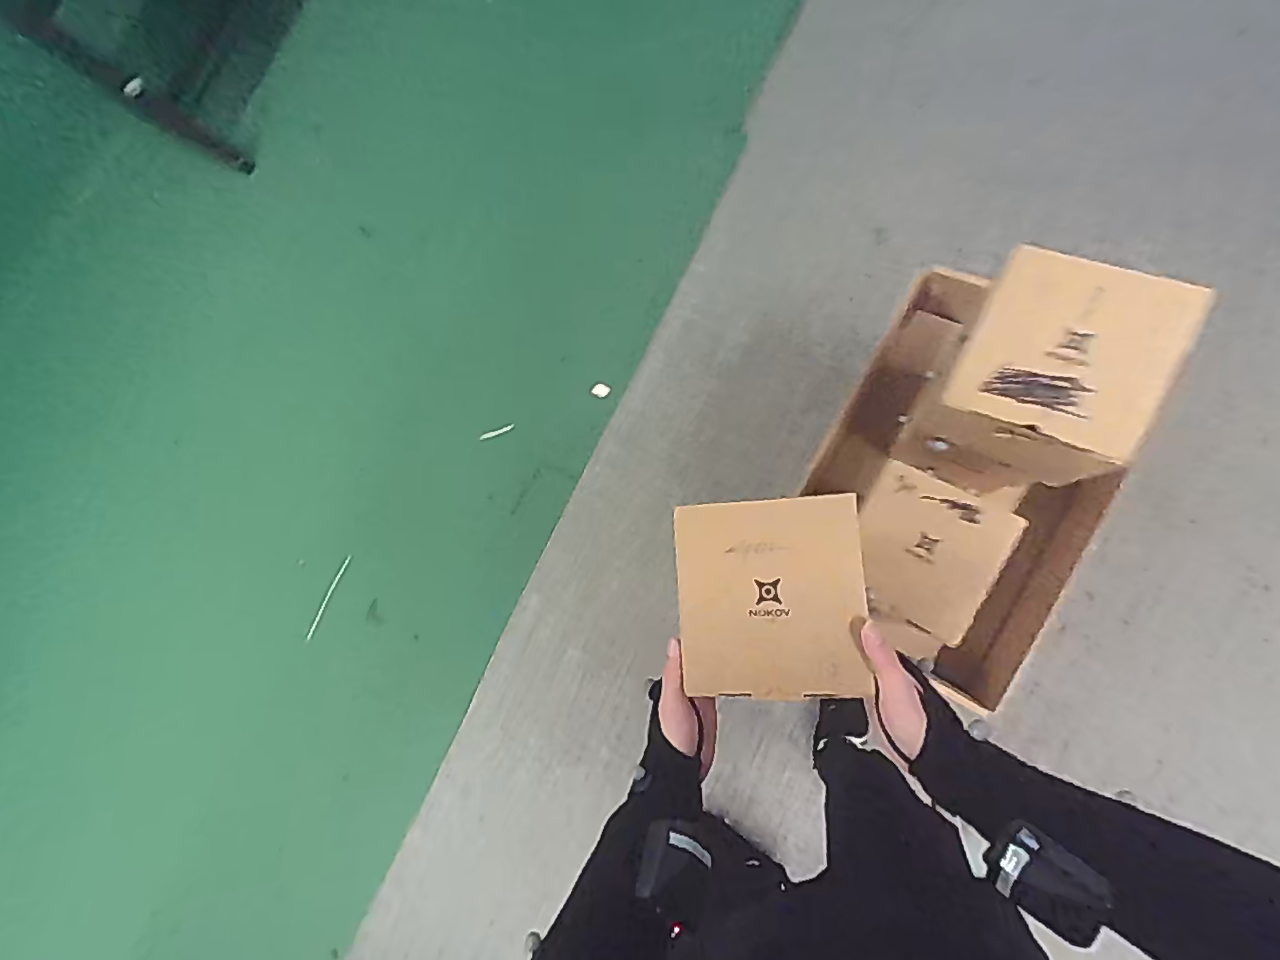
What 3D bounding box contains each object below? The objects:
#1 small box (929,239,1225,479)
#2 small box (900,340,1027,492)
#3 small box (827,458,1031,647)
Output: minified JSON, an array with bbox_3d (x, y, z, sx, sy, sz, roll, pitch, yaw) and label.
[{"bbox_3d":[0.431,-0.114,0.575,0.168,0.176,0.179,26,92,20],"label":"small box"},{"bbox_3d":[0.547,-0.096,0.883,0.168,0.176,0.179,28,93,20],"label":"small box"},{"bbox_3d":[0.371,0.096,0.727,0.168,0.176,0.179,30,91,20],"label":"small box"}]
